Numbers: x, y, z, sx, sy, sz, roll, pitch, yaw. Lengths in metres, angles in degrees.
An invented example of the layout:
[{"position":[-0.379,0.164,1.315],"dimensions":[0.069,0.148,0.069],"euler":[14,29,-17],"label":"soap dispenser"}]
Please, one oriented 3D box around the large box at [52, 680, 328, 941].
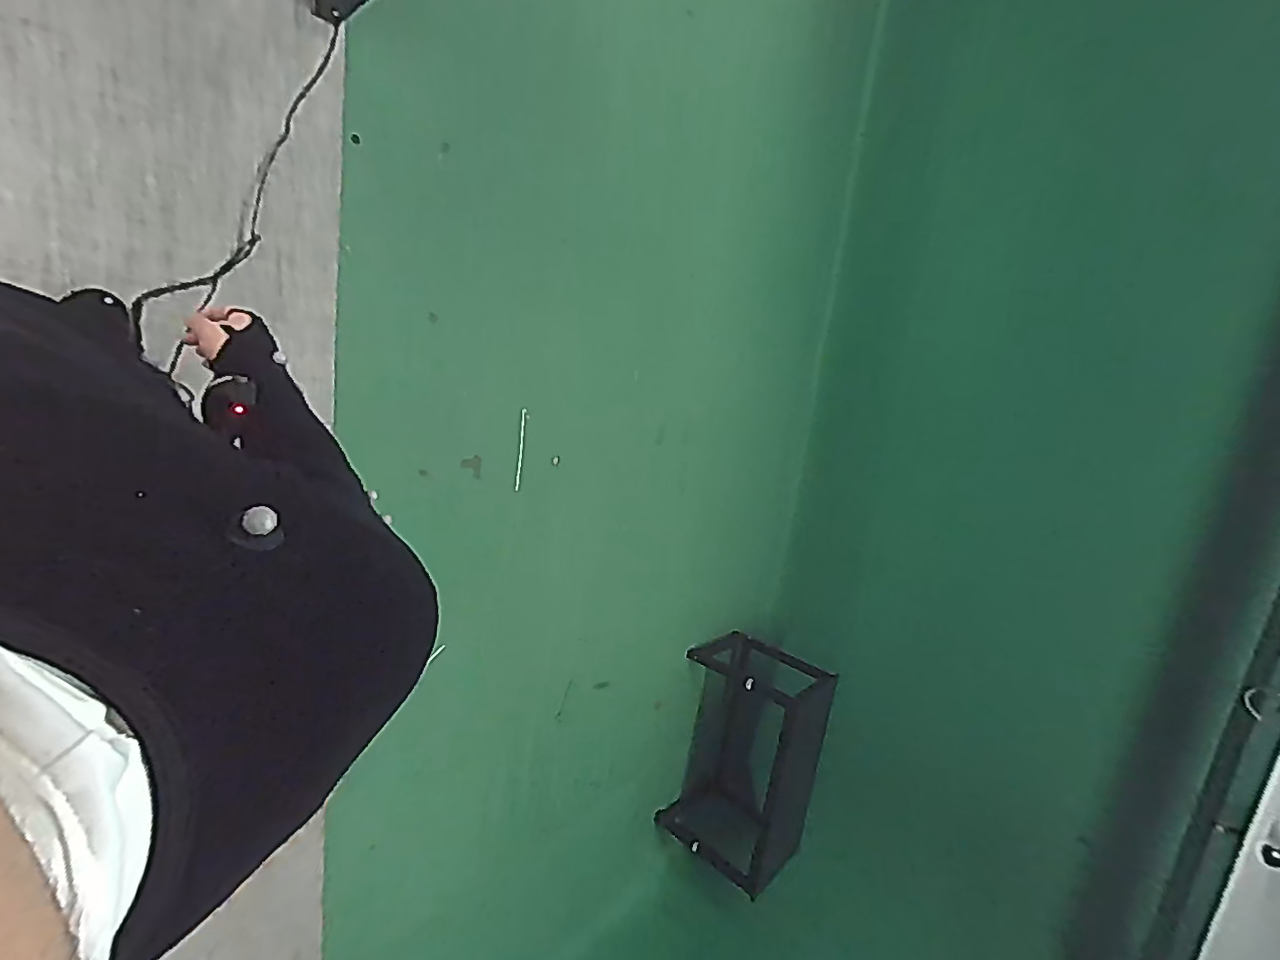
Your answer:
[{"position":[-1.109,0.804,1.360],"dimensions":[0.408,0.320,0.320],"euler":[-45,134,-33],"label":"large box"}]
